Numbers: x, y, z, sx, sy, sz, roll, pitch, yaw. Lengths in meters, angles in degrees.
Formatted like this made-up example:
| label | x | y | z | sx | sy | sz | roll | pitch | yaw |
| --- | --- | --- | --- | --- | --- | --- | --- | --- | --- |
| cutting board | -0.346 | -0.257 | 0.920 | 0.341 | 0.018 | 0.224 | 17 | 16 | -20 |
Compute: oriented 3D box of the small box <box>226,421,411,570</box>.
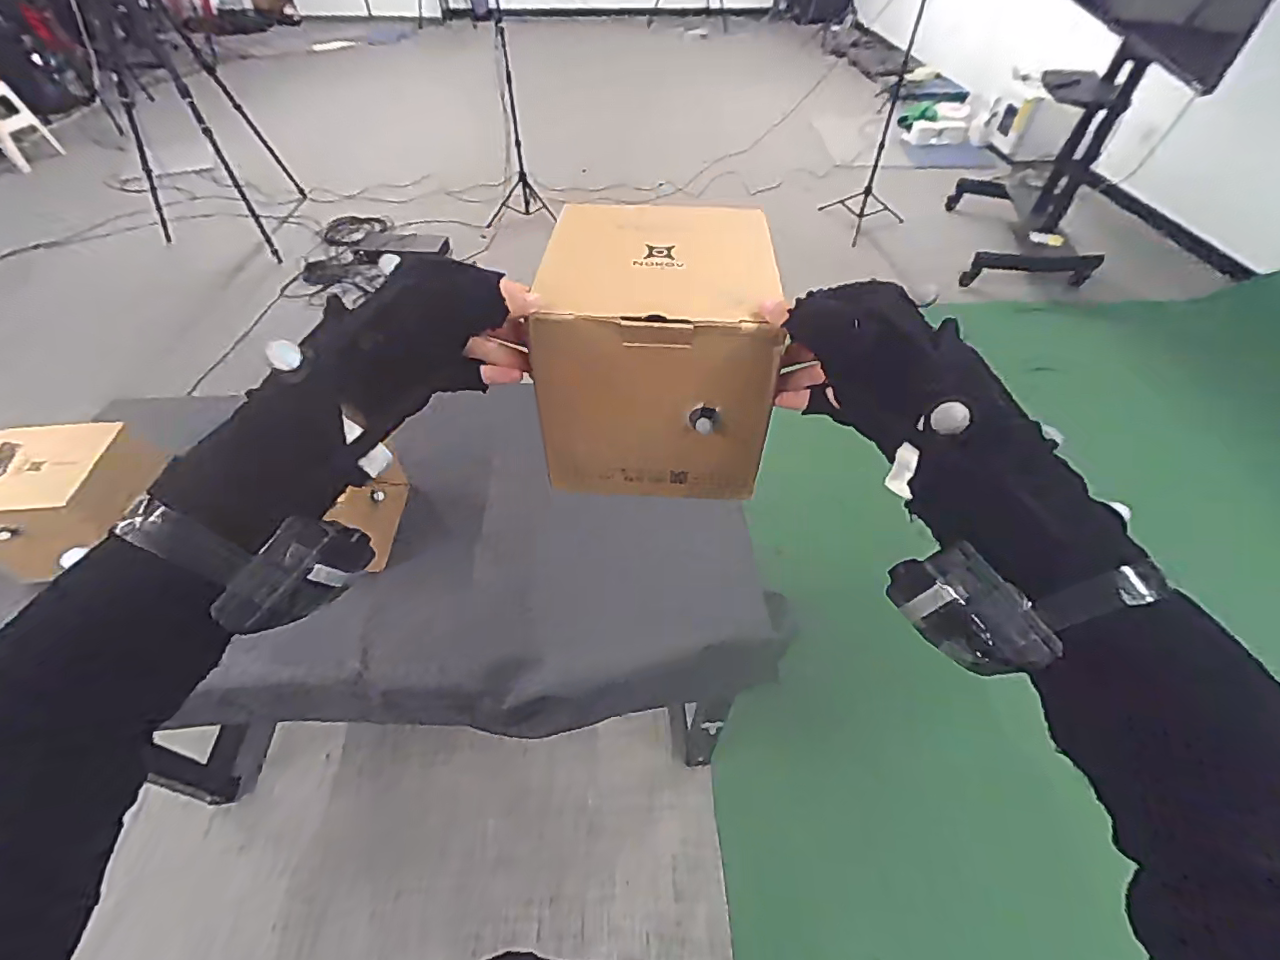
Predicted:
| label | x | y | z | sx | sy | sz | roll | pitch | yaw |
| --- | --- | --- | --- | --- | --- | --- | --- | --- | --- |
| small box | -0.476 | 0.029 | 0.837 | 0.168 | 0.176 | 0.179 | -2 | 49 | -2 |

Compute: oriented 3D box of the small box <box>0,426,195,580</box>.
| label | x | y | z | sx | sy | sz | roll | pitch | yaw |
| --- | --- | --- | --- | --- | --- | --- | --- | --- | --- |
| small box | -0.846 | 0.038 | 0.823 | 0.179 | 0.176 | 0.168 | -4 | 49 | -6 |

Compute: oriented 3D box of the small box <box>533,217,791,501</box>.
| label | x | y | z | sx | sy | sz | roll | pitch | yaw |
| --- | --- | --- | --- | --- | --- | --- | --- | --- | --- |
| small box | 0.018 | -0.099 | 0.450 | 0.168 | 0.176 | 0.179 | 3 | 46 | 1 |
